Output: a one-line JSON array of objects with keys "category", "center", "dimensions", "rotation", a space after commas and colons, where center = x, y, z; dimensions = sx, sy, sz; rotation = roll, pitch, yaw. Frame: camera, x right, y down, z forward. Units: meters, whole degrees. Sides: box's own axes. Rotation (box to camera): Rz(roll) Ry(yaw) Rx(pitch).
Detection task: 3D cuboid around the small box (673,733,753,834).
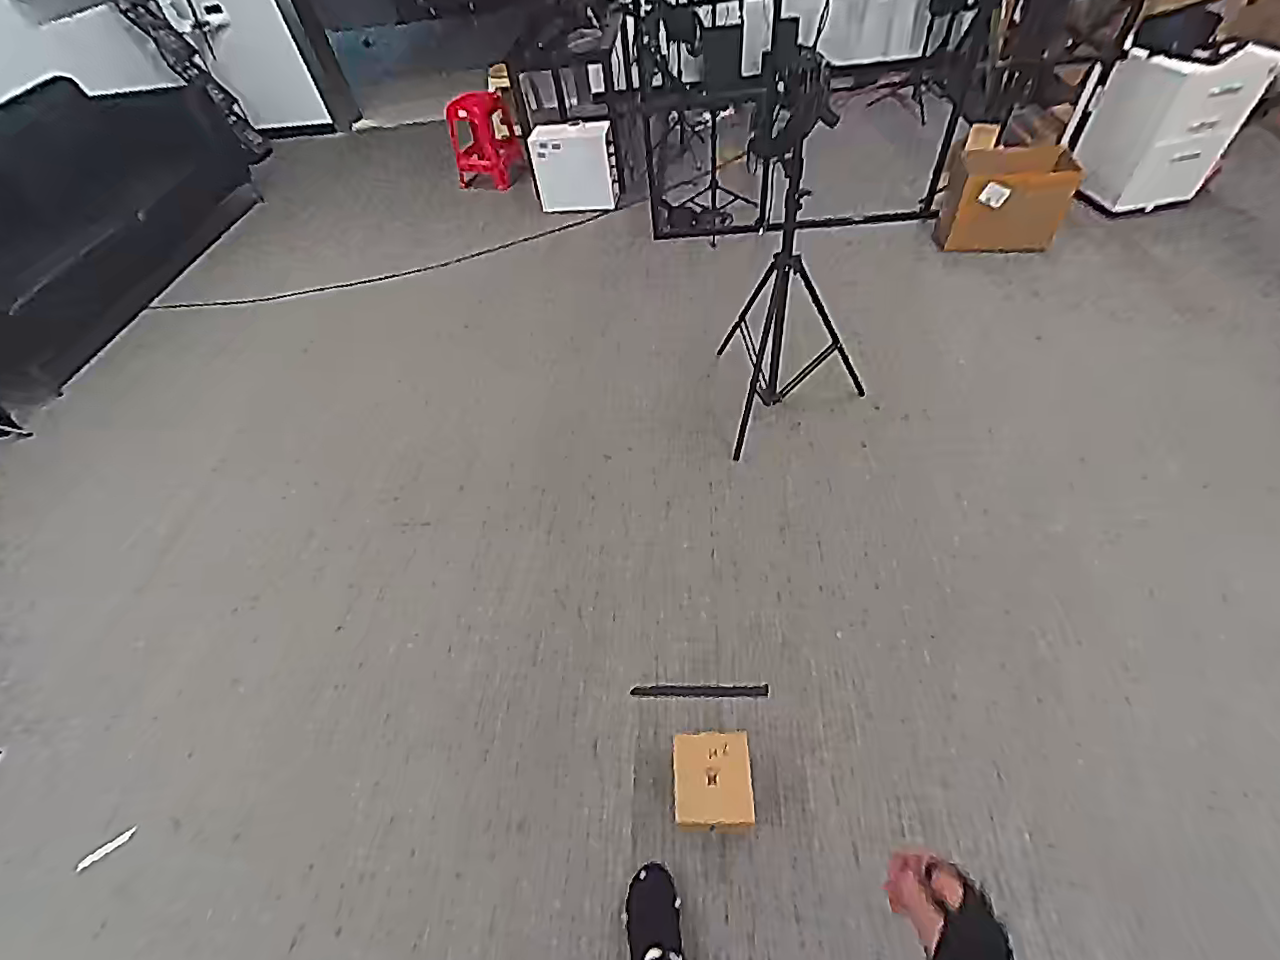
[{"category": "small box", "center": [0.162, 0.686, 1.219], "dimensions": [0.168, 0.176, 0.179], "rotation": [-3, 50, 5]}]
